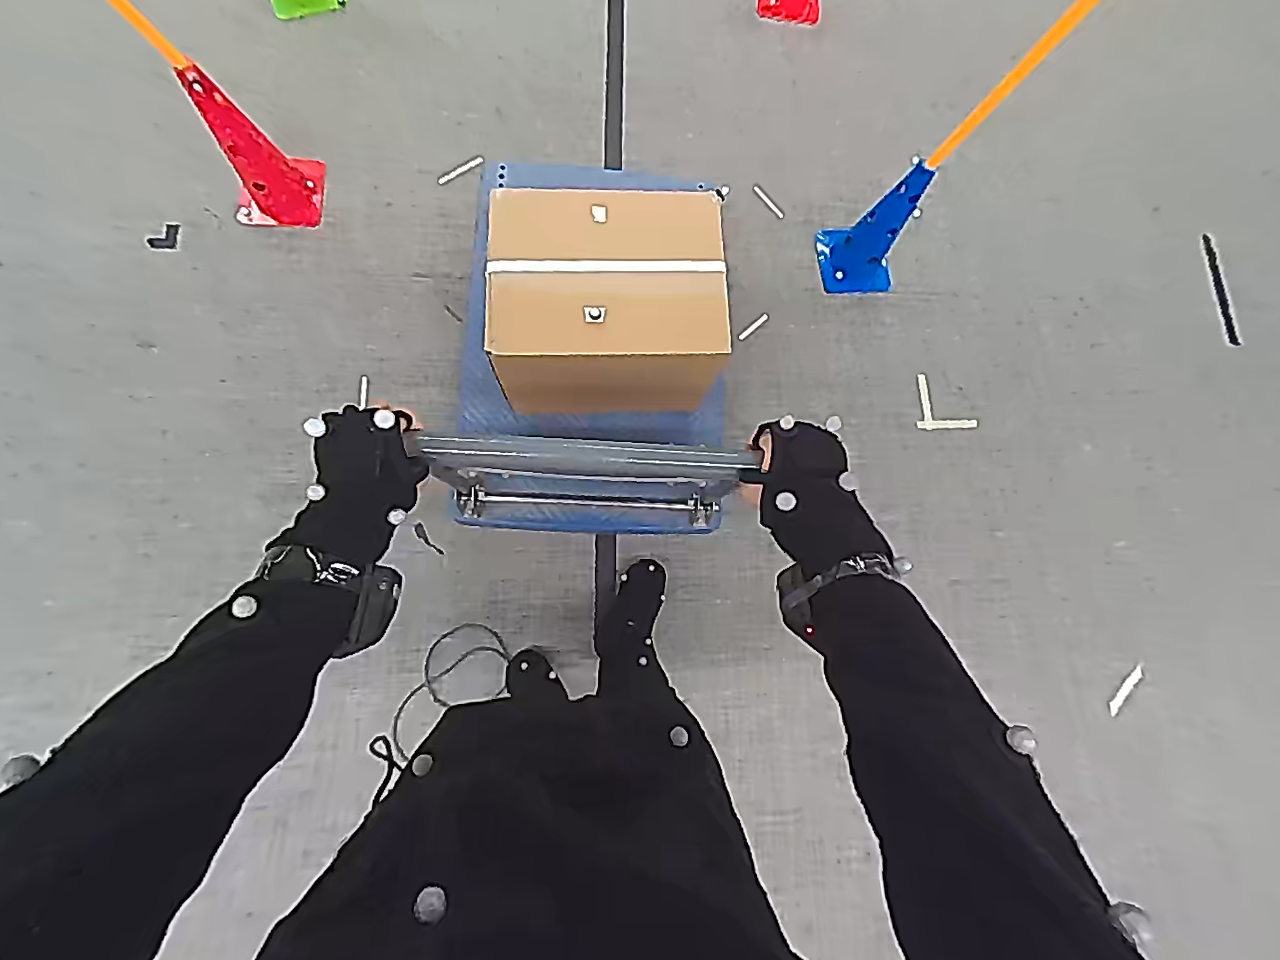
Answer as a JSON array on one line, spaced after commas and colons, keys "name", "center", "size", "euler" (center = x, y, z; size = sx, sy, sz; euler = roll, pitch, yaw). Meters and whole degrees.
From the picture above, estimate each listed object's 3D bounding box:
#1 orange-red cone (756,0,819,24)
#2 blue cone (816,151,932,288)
[{"name": "orange-red cone", "center": [0.481, -1.553, 1.523], "size": [0.199, 0.360, 0.198], "euler": [7, 79, -5]}, {"name": "blue cone", "center": [0.617, -0.664, 1.374], "size": [0.193, 0.380, 0.192], "euler": [-4, 78, -6]}]
